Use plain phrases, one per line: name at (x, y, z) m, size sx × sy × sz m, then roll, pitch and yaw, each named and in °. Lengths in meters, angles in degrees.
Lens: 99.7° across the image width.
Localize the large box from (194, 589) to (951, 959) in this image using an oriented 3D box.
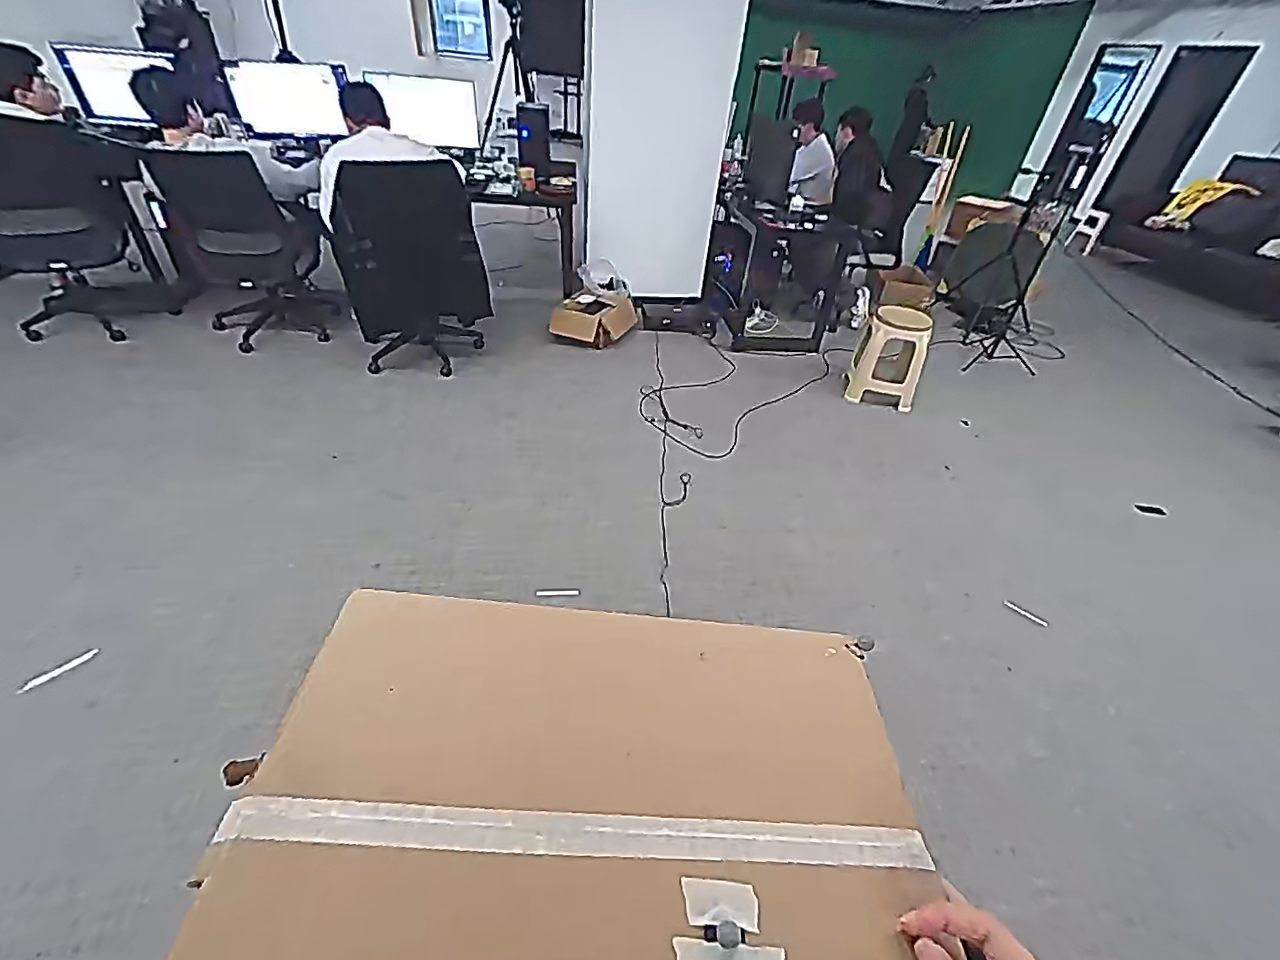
large box at (-0.045, 0.319, 0.428) m, size 0.408 × 0.320 × 0.320 m, roll 8°, pitch 41°, yaw -6°
